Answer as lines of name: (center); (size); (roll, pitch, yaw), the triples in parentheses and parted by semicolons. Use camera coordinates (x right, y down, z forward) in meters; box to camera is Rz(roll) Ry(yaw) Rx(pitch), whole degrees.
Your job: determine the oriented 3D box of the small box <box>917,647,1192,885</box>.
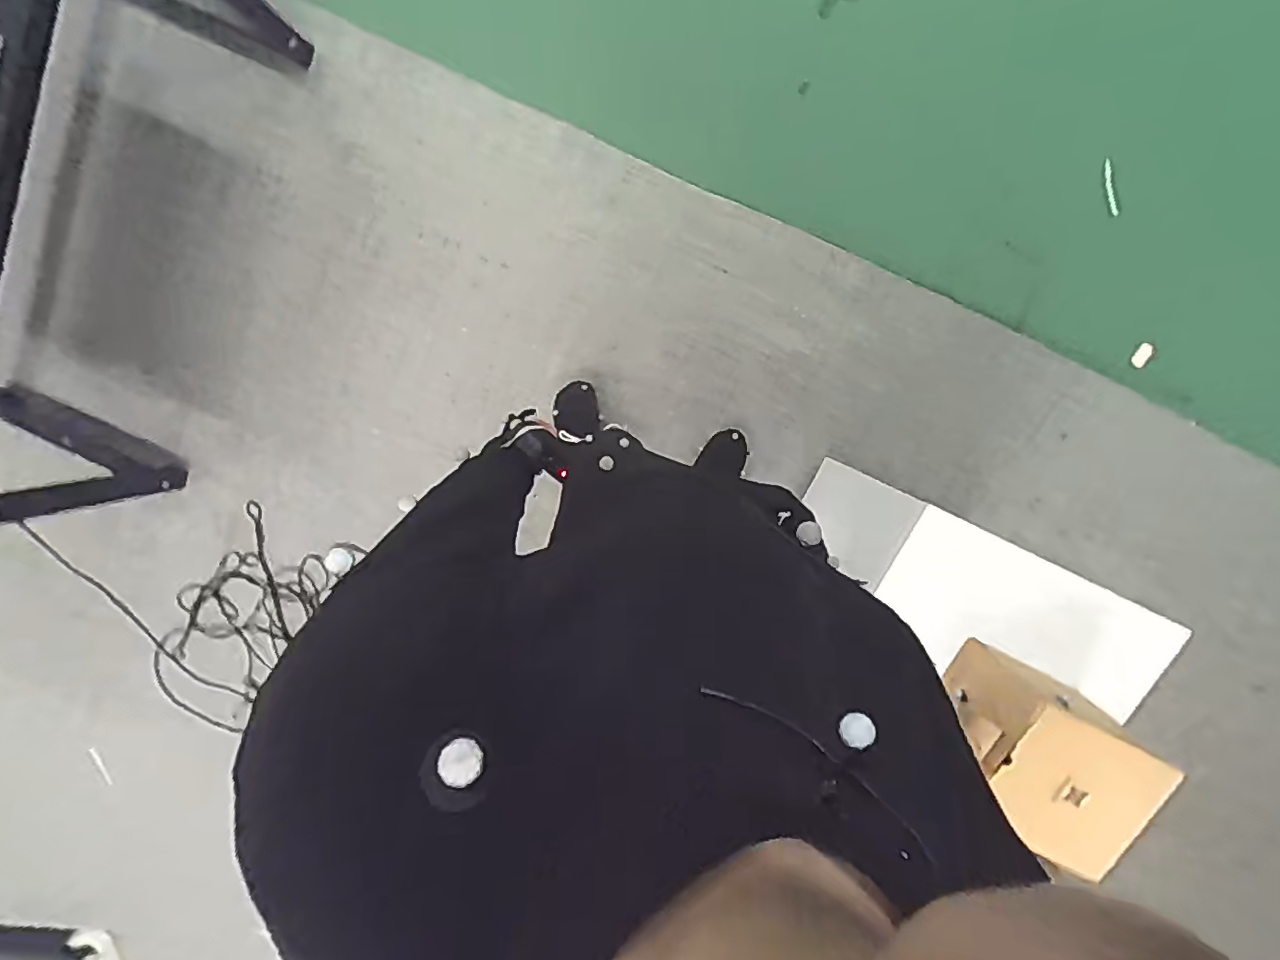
small box: (0.497, 0.342, 0.681); (0.179, 0.176, 0.168); (27, 100, 1)
